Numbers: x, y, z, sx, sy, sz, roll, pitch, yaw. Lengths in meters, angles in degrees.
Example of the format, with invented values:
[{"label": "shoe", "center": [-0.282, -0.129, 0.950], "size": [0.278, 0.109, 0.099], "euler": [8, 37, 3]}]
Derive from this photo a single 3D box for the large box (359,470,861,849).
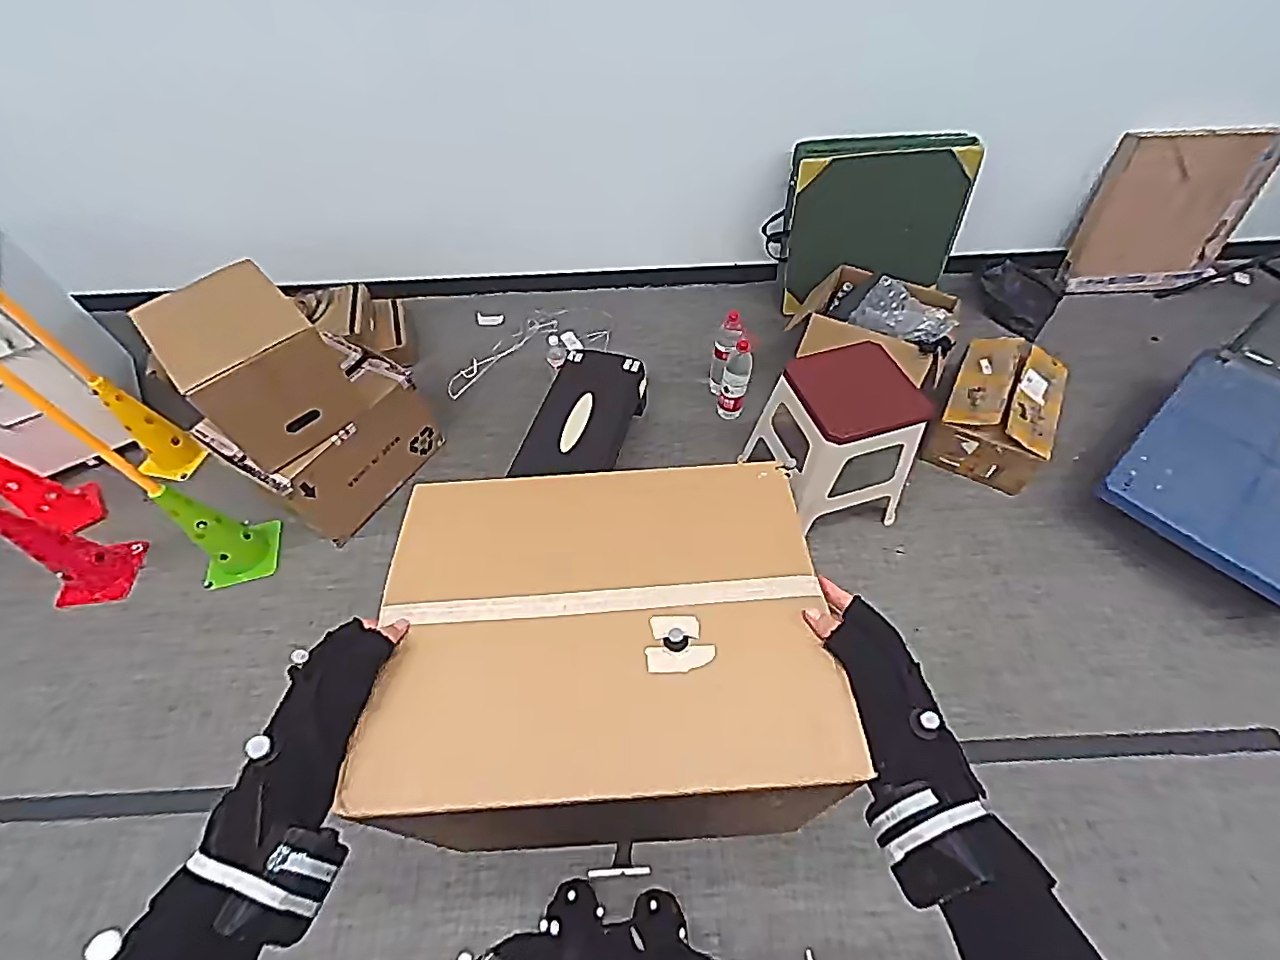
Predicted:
[{"label": "large box", "center": [-0.028, 0.213, 0.628], "size": [0.408, 0.320, 0.320], "euler": [-3, 51, -1]}]
